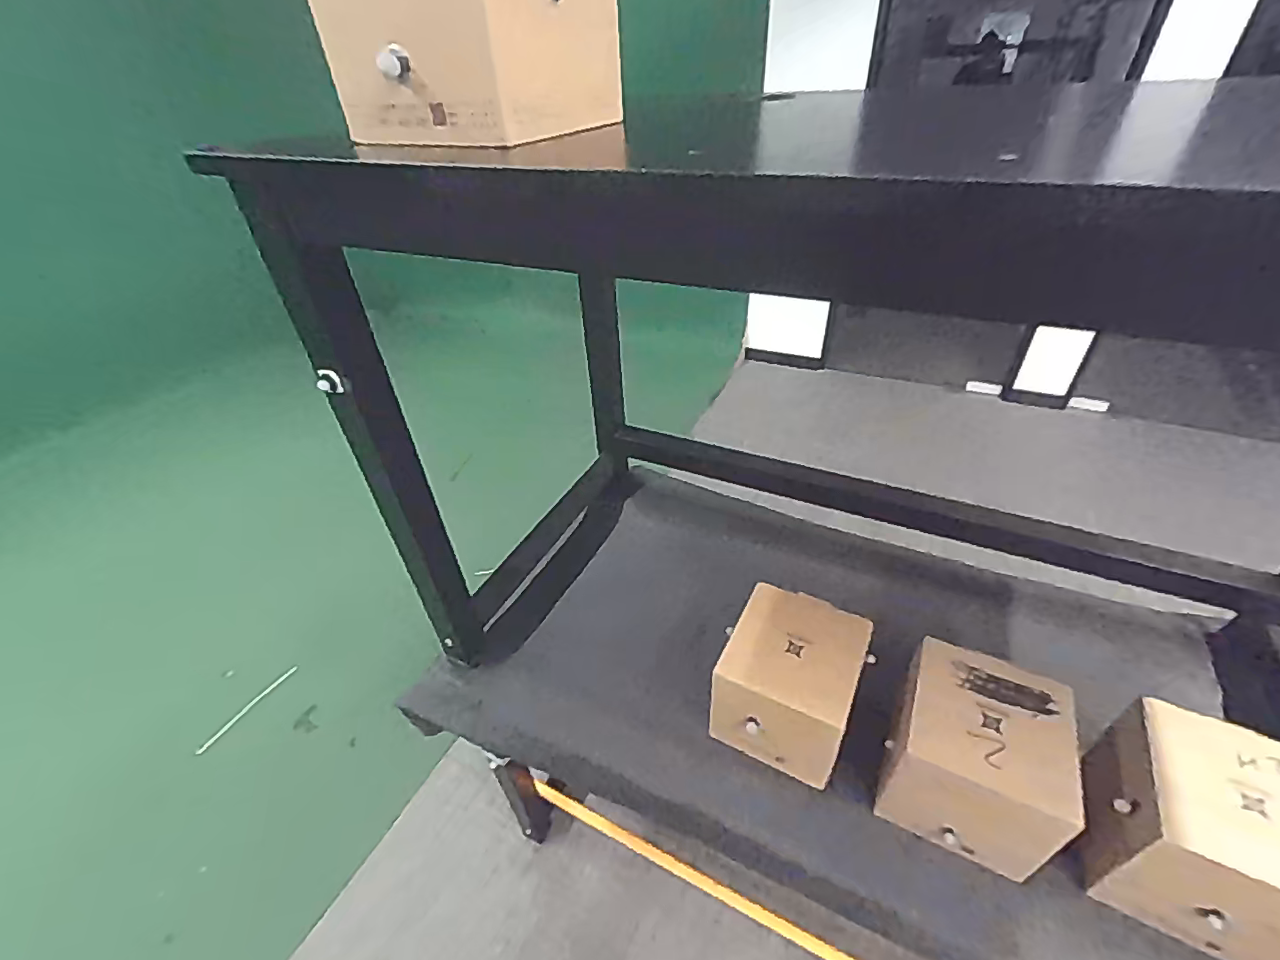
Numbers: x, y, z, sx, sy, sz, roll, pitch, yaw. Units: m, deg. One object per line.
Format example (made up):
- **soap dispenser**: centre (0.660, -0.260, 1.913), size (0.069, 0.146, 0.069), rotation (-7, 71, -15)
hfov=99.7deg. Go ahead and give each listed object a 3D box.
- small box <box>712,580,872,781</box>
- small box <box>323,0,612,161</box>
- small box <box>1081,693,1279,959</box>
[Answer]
- **small box**: centre (0.210, 0.280, 0.762), size (0.168, 0.176, 0.179), rotation (17, 42, 25)
- **small box**: centre (-0.133, -0.370, 0.435), size (0.168, 0.176, 0.179), rotation (16, 43, 23)
- **small box**: centre (0.617, 0.381, 0.591), size (0.168, 0.176, 0.179), rotation (18, 42, 25)
